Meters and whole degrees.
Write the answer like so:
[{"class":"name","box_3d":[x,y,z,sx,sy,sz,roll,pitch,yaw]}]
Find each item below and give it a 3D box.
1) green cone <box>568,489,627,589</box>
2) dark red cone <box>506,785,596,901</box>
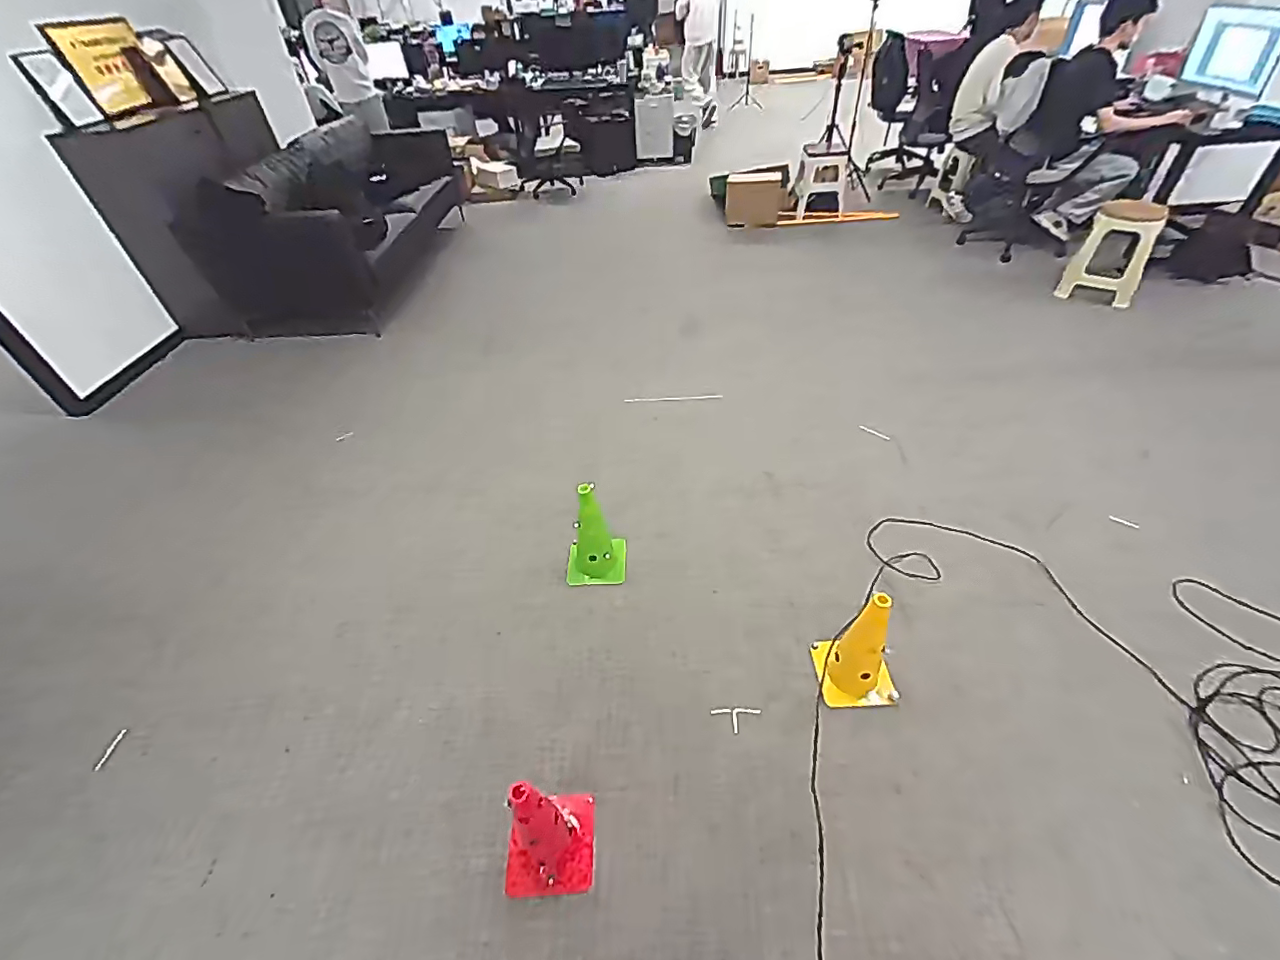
[{"class":"green cone","box_3d":[-0.156,0.175,1.780,0.202,0.368,0.200,-2,43,2]},{"class":"dark red cone","box_3d":[-0.213,0.728,1.140,0.202,0.394,0.201,-6,43,0]}]
